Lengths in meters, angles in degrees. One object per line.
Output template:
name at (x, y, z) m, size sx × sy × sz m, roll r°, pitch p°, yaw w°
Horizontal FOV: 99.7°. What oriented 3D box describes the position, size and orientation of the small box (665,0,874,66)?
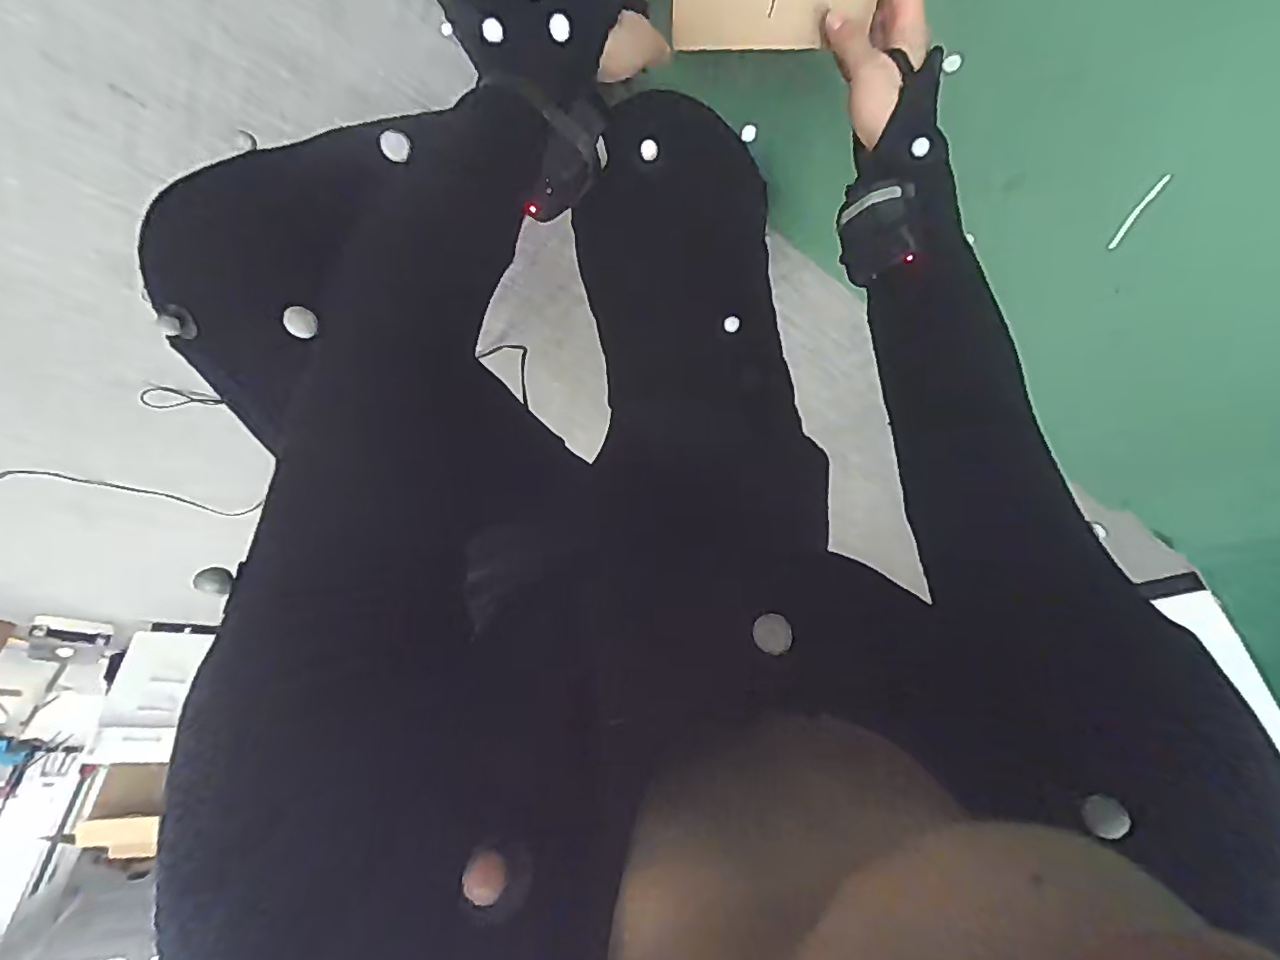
small box at (0.104, -0.471, 0.438) m, size 0.168 × 0.176 × 0.179 m, roll 0°, pitch 146°, yaw 2°
